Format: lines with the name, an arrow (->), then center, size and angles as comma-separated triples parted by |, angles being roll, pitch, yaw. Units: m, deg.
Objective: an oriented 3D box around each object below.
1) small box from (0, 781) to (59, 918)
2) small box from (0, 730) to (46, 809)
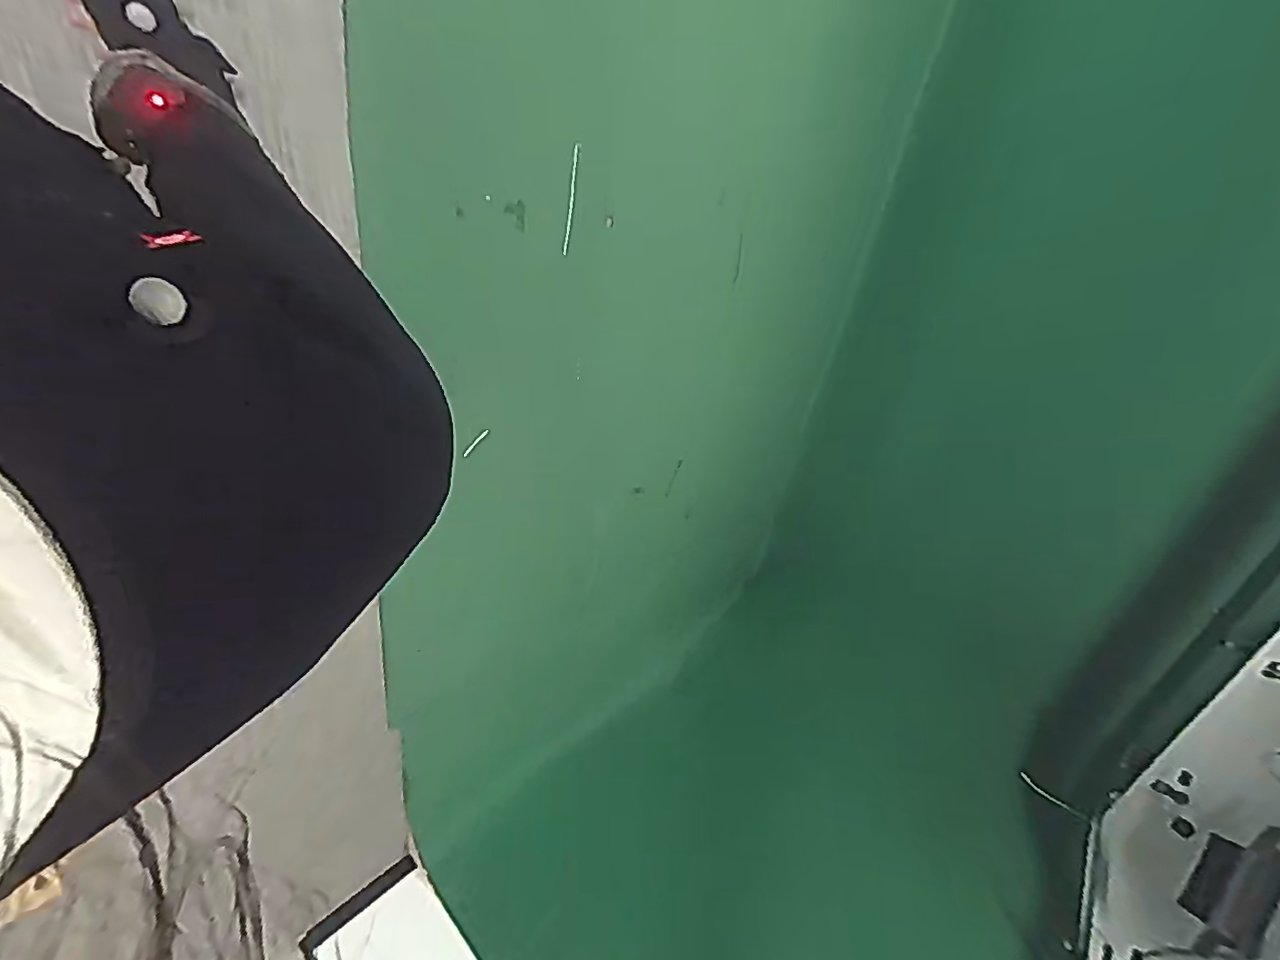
small box -> -1.291, 0.745, 1.060 | 0.179, 0.176, 0.168 | -16, 127, -47
small box -> -1.408, 0.680, 1.150 | 0.179, 0.176, 0.168 | -14, 128, -48
